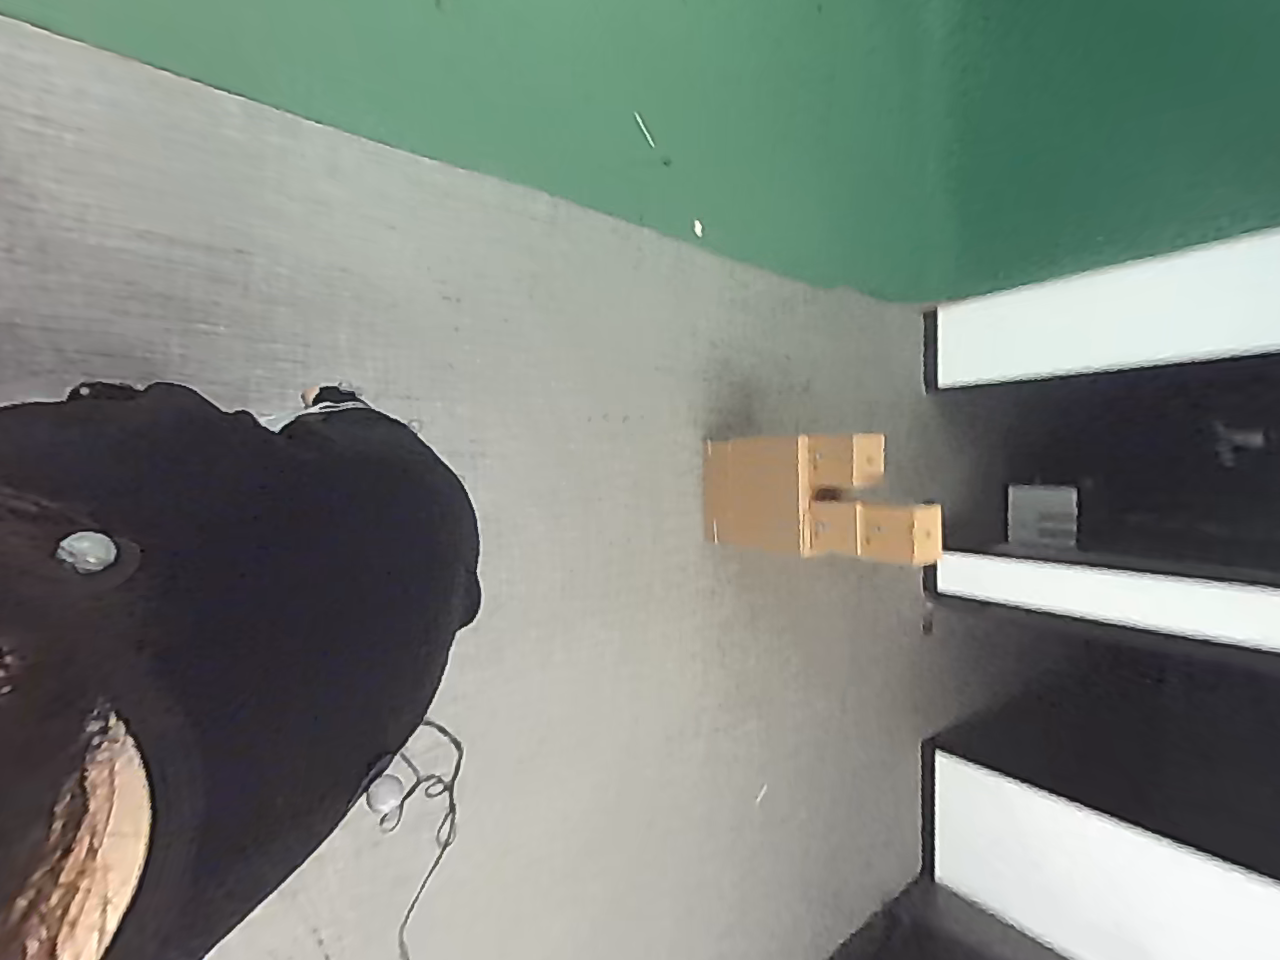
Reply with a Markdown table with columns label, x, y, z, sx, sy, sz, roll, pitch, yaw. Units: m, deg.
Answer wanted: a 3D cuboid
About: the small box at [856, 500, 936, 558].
| label | x | y | z | sx | sy | sz | roll | pitch | yaw |
| --- | --- | --- | --- | --- | --- | --- | --- | --- | --- |
| small box | 0.792 | 0.145 | 1.672 | 0.179 | 0.176 | 0.168 | 0 | 89 | -38 |
